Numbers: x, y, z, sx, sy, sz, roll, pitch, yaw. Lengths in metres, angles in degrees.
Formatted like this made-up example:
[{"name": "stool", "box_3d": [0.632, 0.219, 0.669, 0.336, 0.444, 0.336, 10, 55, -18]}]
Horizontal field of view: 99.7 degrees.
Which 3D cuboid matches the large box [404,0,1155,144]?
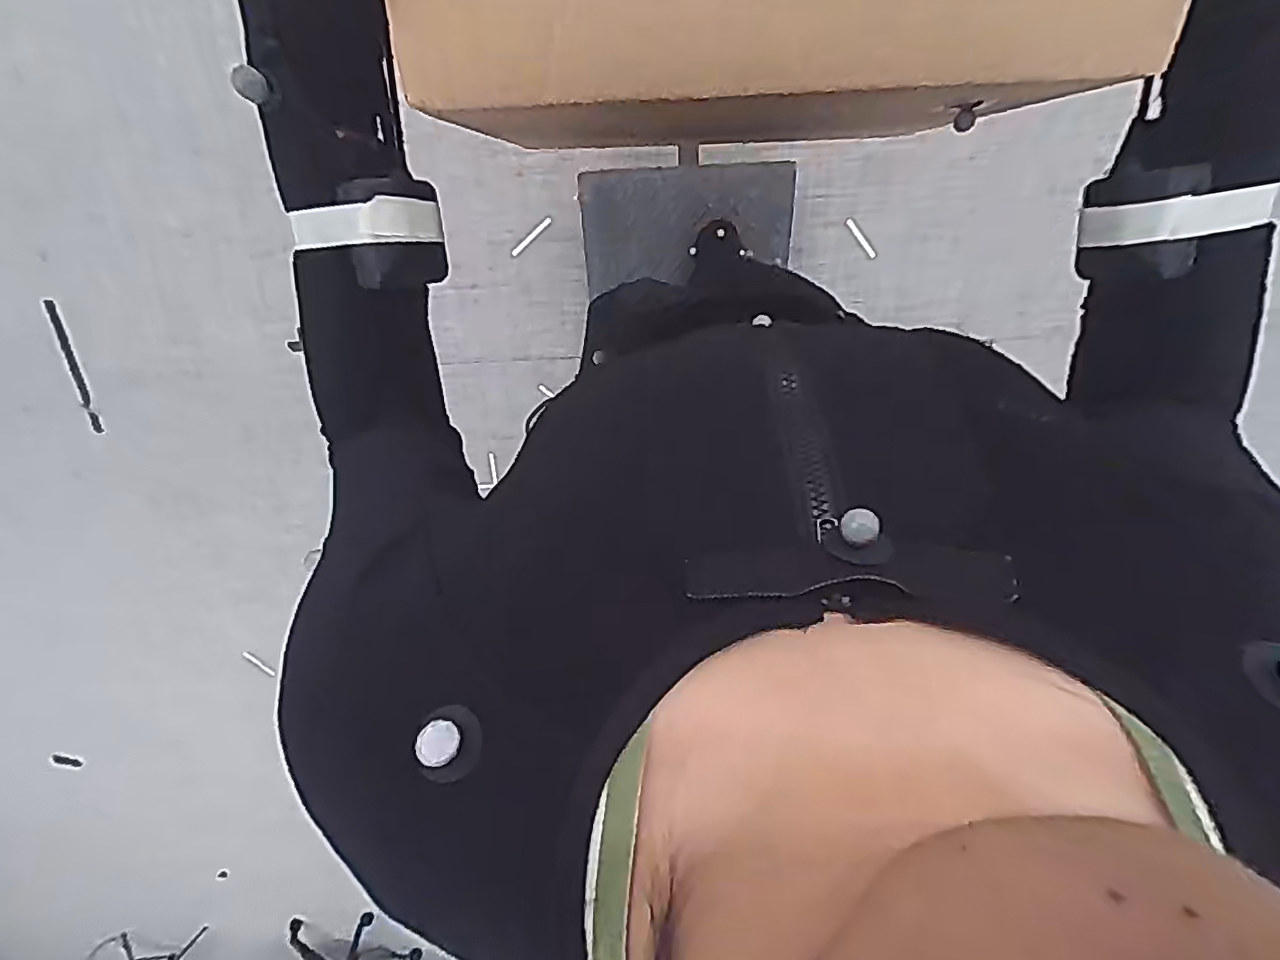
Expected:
[{"name": "large box", "box_3d": [0.071, -0.423, 0.362, 0.408, 0.320, 0.320, -2, 118, 2]}]
